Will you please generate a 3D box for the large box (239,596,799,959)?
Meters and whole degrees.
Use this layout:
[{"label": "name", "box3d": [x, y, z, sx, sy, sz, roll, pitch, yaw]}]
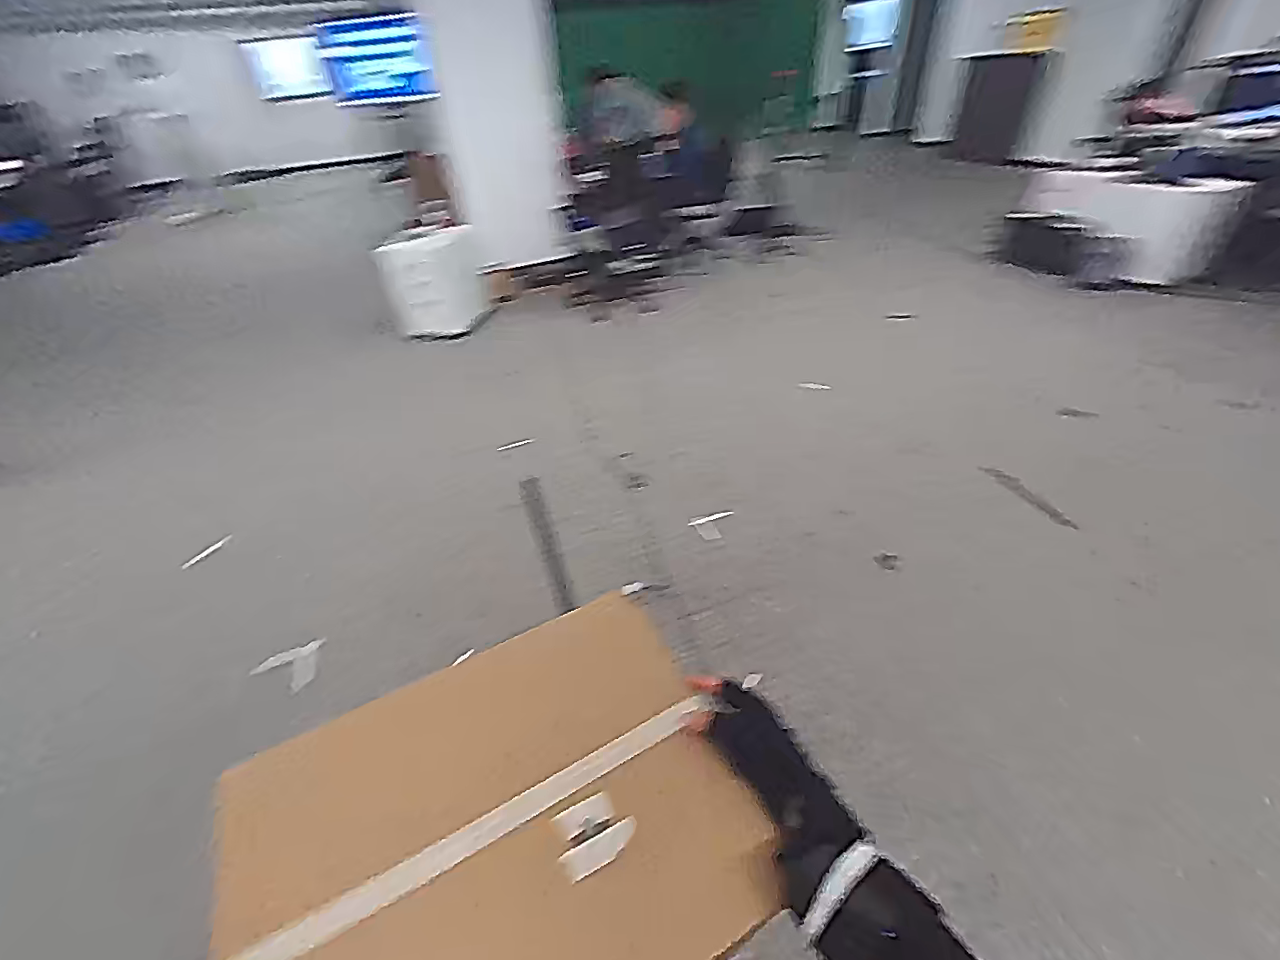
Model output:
[{"label": "large box", "box3d": [-0.115, 0.399, 0.562, 0.408, 0.320, 0.320, -21, 48, -21]}]
